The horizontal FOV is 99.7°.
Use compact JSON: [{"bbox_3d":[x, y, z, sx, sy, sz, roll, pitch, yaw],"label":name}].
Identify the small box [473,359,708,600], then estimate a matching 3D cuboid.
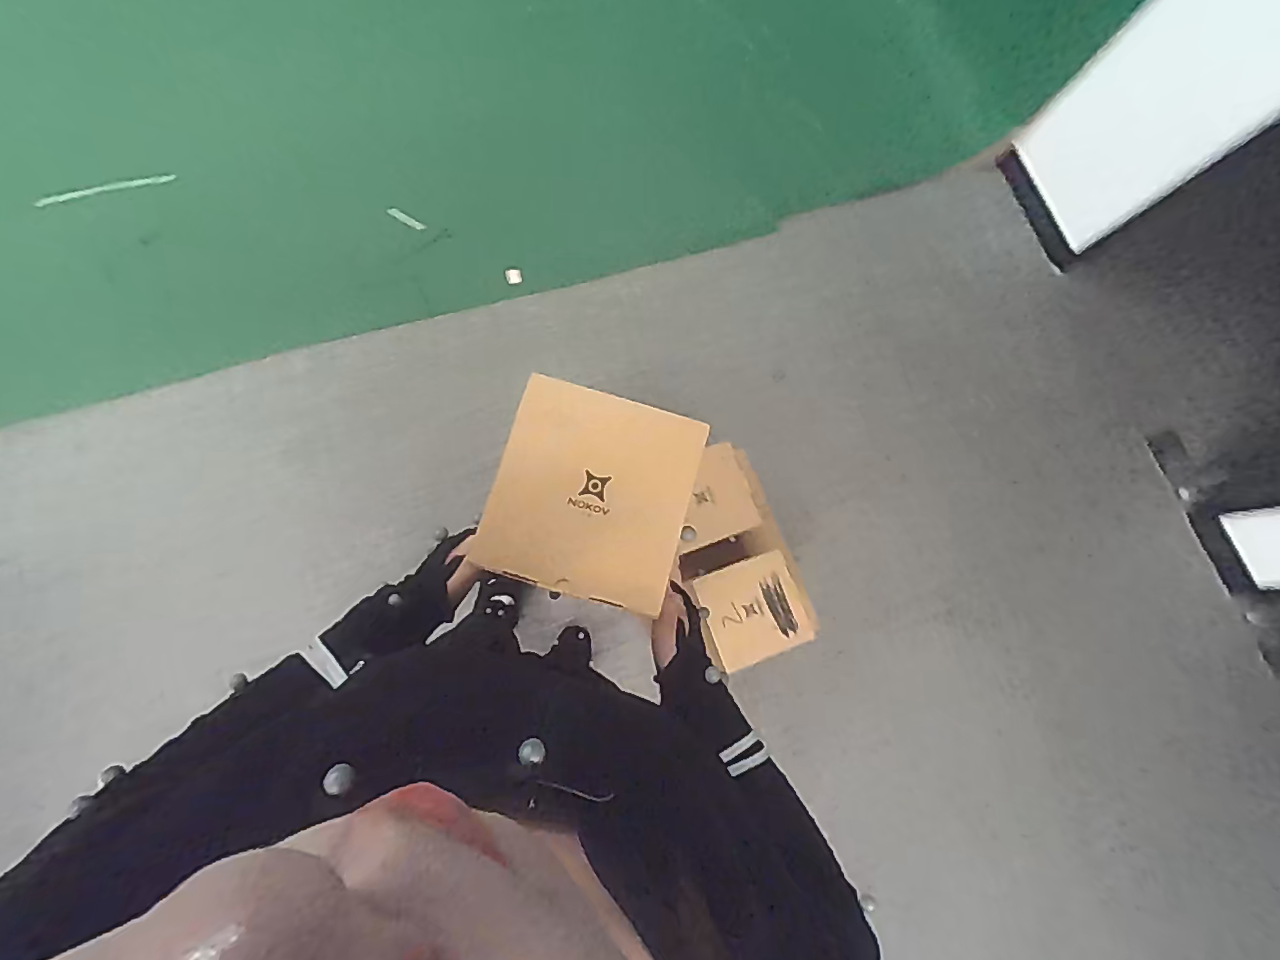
[{"bbox_3d":[-0.047,0.009,0.541,0.168,0.176,0.179,16,80,-2],"label":"small box"}]
